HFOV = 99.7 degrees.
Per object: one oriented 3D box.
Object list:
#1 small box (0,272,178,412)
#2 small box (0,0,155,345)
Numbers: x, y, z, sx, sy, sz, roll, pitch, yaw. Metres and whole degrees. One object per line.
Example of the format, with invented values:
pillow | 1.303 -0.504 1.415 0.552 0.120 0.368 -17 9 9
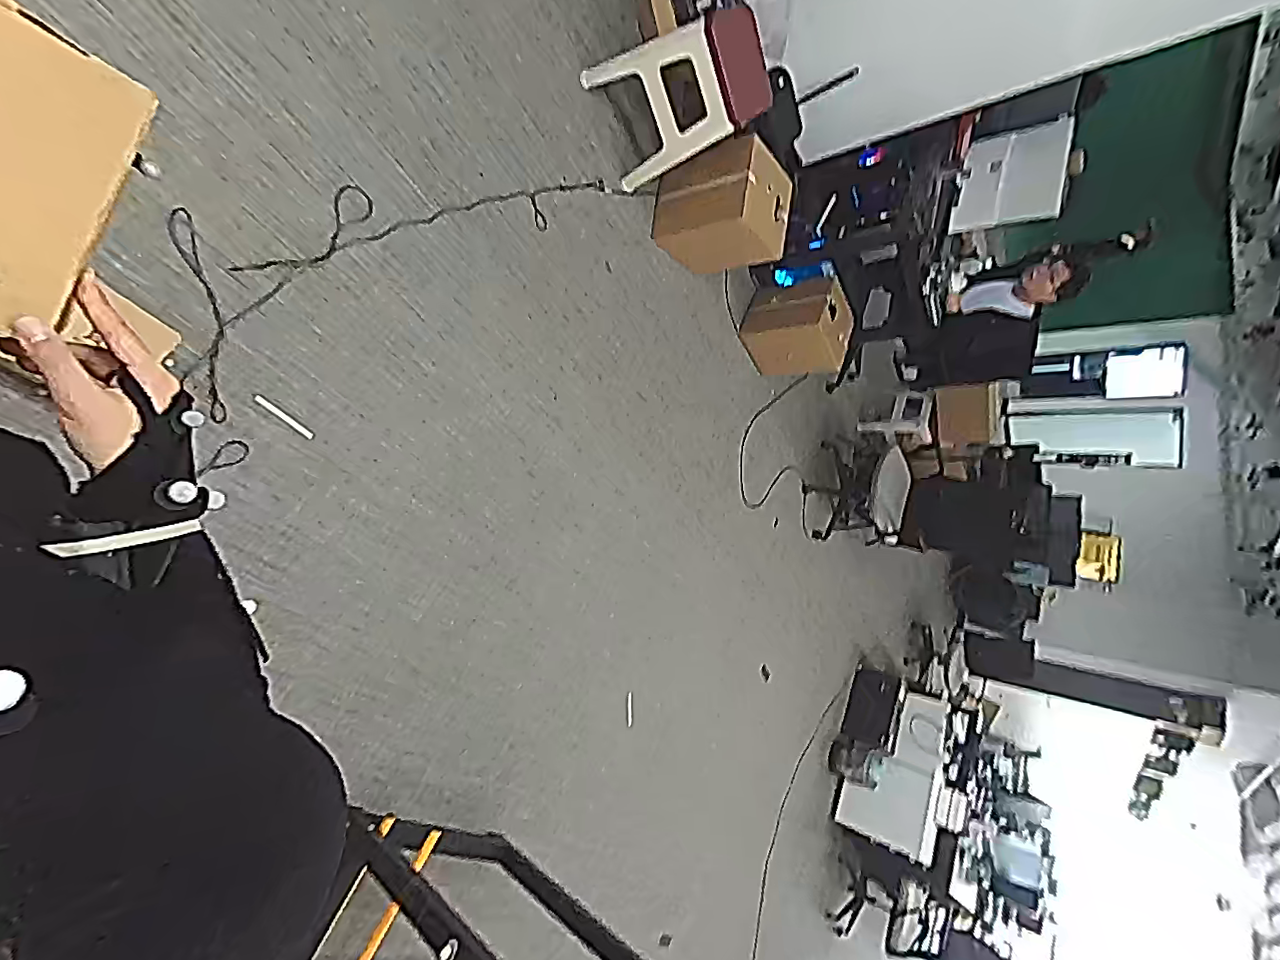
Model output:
small box | -0.937 -0.232 0.904 0.168 0.176 0.179 46 60 -40
small box | -0.432 -0.203 0.325 0.168 0.176 0.179 24 87 -47
